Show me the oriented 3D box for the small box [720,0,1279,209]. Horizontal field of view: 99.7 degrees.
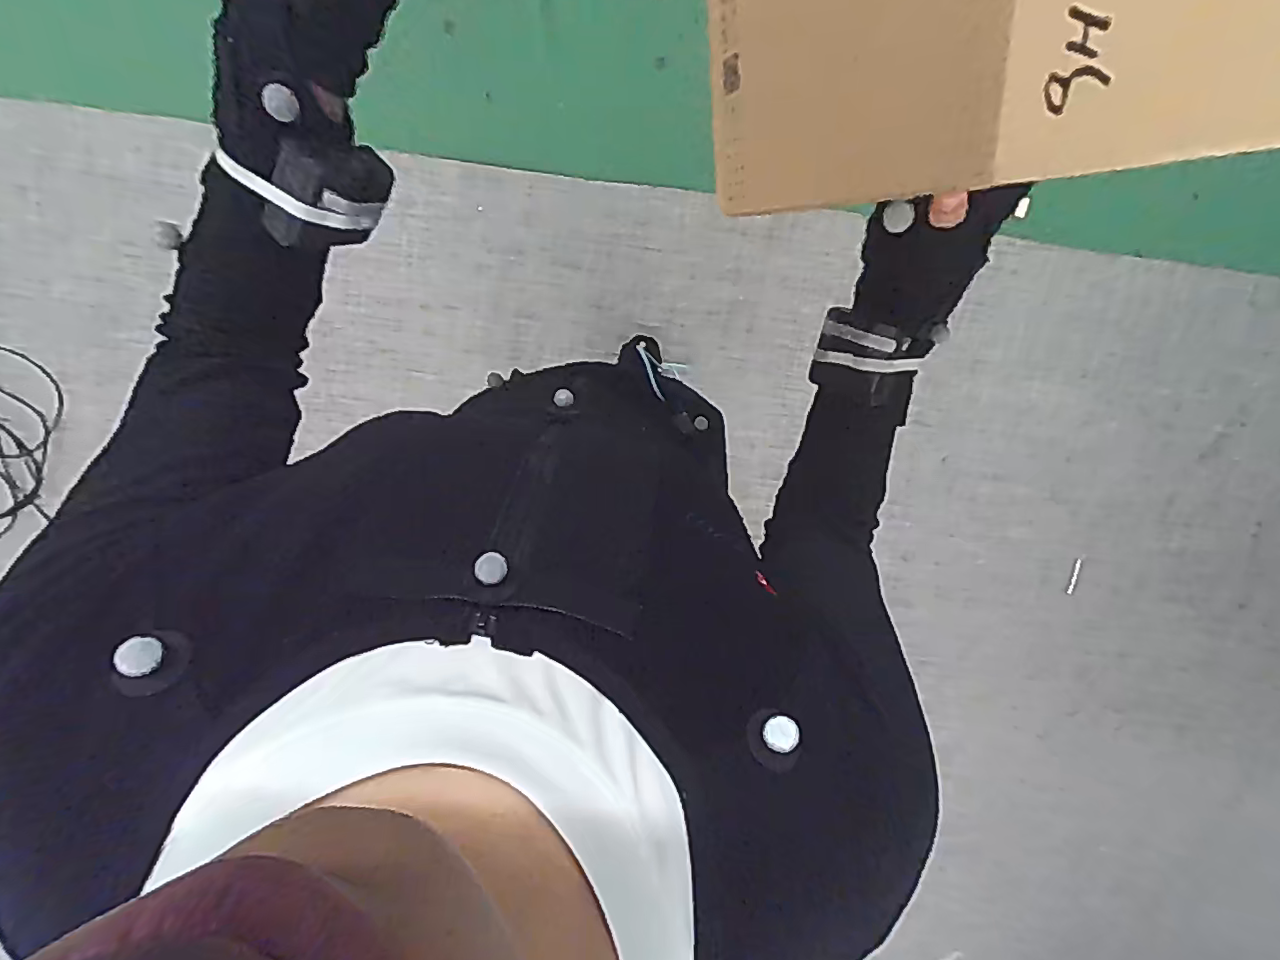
[{"bbox_3d":[0.148,-0.208,0.214,0.179,0.176,0.168,-14,116,-17],"label":"small box"}]
